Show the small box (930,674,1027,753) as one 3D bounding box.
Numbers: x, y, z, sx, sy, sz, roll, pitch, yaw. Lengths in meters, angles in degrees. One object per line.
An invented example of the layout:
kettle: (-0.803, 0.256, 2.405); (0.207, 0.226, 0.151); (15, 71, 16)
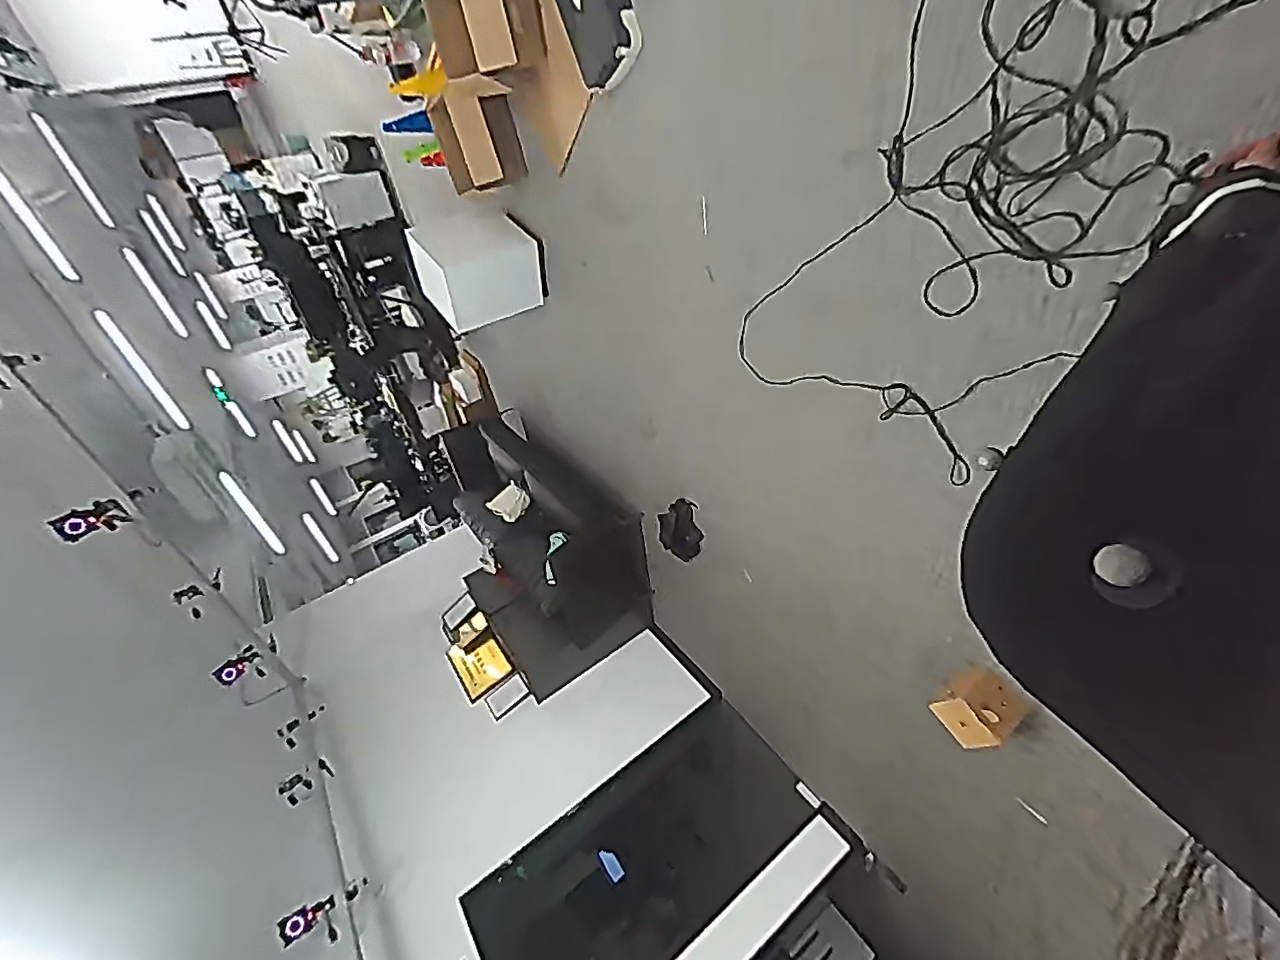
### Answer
small box: (1.113, 0.767, 1.778); (0.168, 0.176, 0.179); (53, 154, 21)
